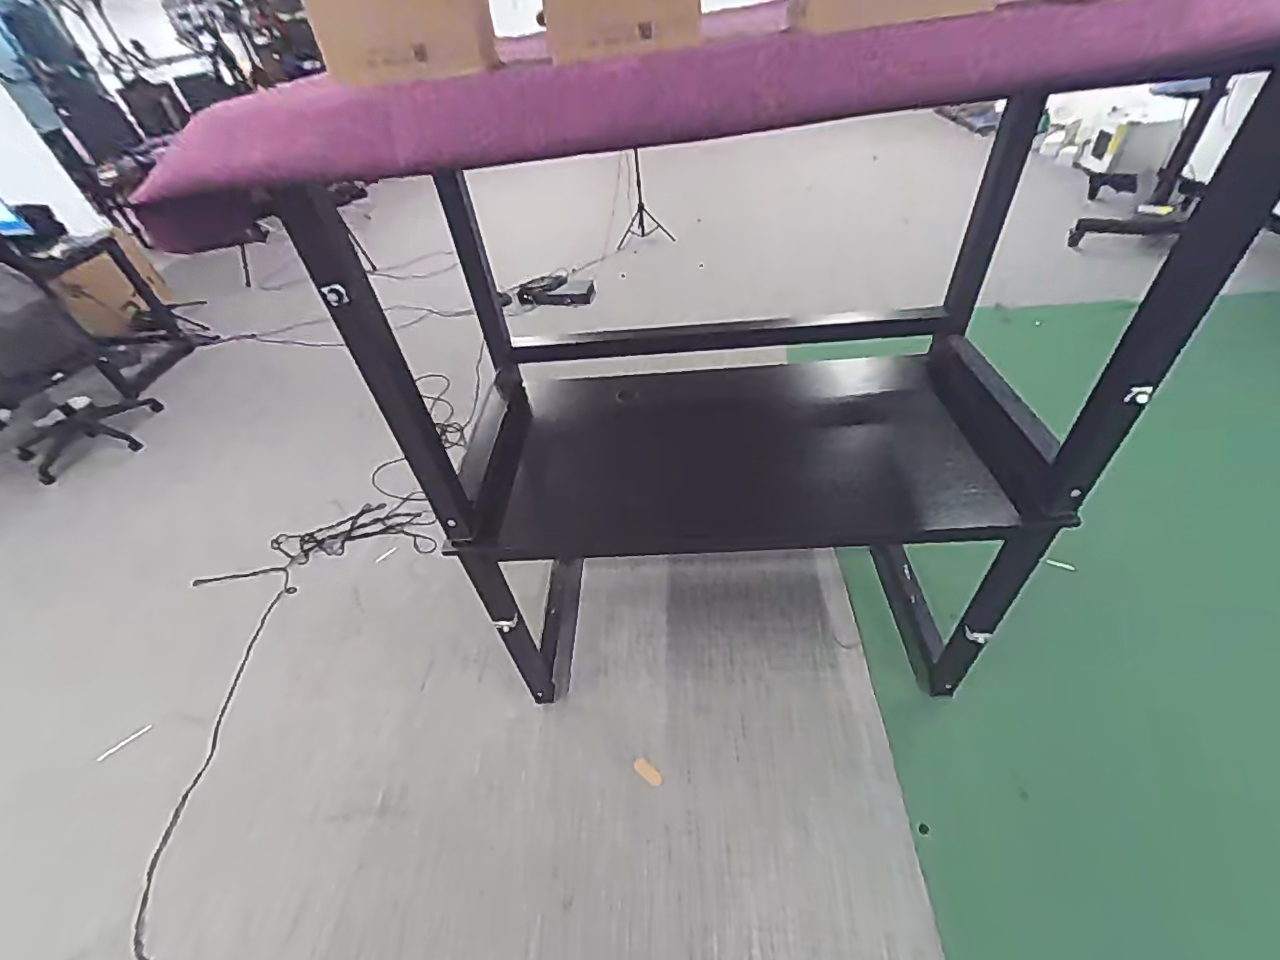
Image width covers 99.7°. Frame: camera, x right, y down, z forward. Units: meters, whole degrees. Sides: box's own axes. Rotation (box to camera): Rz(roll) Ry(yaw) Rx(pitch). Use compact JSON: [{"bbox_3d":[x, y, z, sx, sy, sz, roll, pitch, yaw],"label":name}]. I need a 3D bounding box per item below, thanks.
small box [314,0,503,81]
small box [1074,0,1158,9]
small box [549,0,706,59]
[{"bbox_3d":[-0.259,-0.557,0.601,0.168,0.176,0.179,-6,42,0],"label":"small box"},{"bbox_3d":[0.540,-0.584,0.523,0.179,0.176,0.168,-3,43,6],"label":"small box"},{"bbox_3d":[-0.019,-0.577,0.591,0.168,0.176,0.179,-5,43,1],"label":"small box"}]
